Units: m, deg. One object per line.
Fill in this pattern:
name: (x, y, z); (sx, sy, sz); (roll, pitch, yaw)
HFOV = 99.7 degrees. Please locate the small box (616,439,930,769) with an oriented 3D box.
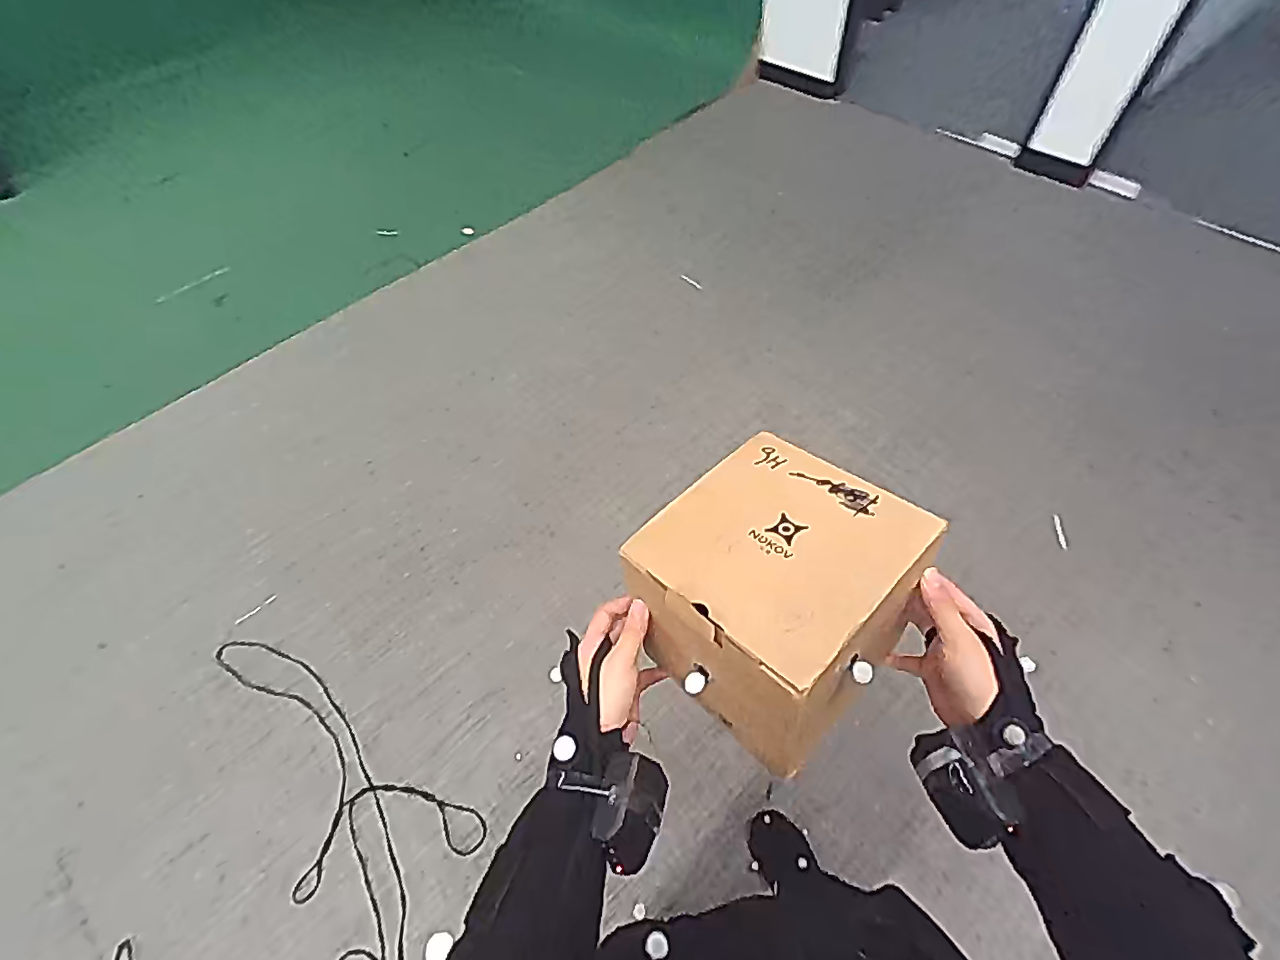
small box: (0.108, 0.102, 0.458); (0.179, 0.176, 0.168); (-38, 51, -24)
